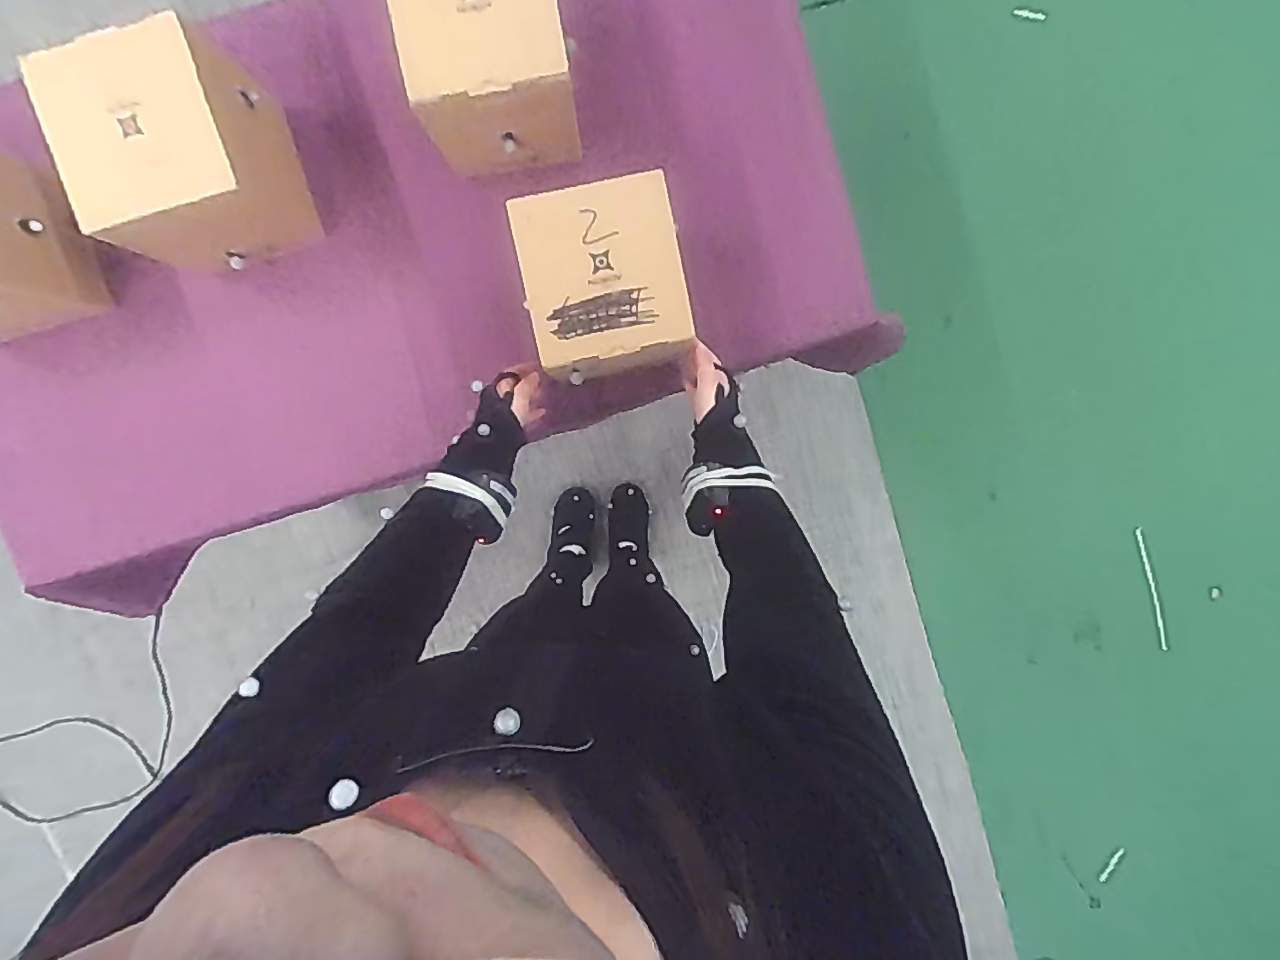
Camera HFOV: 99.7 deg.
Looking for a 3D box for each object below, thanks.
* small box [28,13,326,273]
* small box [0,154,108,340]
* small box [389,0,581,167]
[{"bbox_3d":[-0.503,-0.363,0.619,0.168,0.176,0.179,-16,96,1],"label":"small box"},{"bbox_3d":[-0.776,-0.273,0.620,0.179,0.176,0.168,-16,95,0],"label":"small box"},{"bbox_3d":[-0.166,-0.483,0.612,0.168,0.176,0.179,-10,96,0],"label":"small box"}]
